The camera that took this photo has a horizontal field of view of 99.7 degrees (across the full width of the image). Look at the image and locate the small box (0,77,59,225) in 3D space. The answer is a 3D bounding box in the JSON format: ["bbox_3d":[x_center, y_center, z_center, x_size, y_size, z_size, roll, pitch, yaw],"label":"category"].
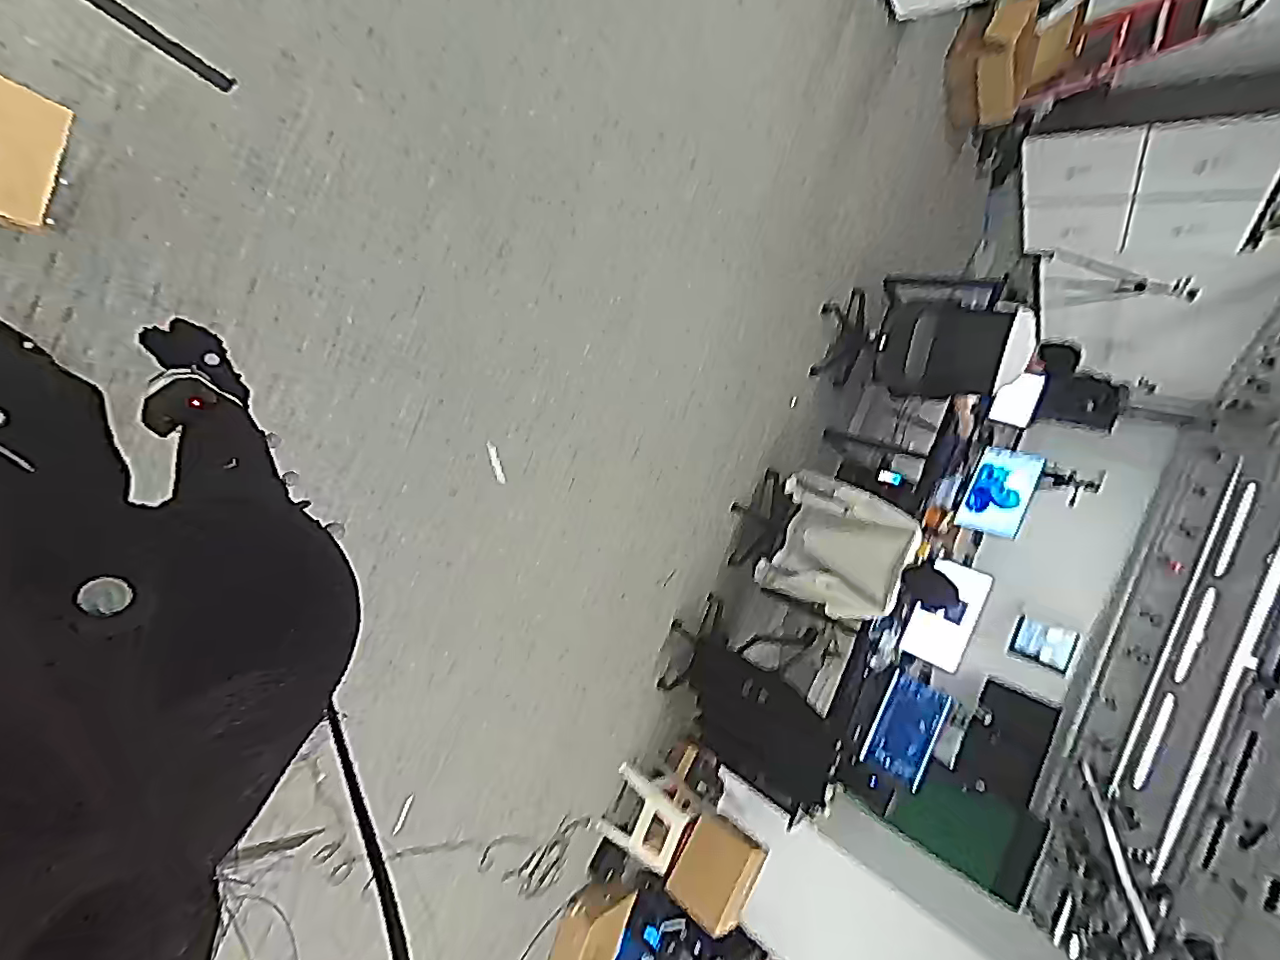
[{"bbox_3d":[-0.928,-0.466,0.725,0.168,0.176,0.179,17,91,-53],"label":"small box"}]

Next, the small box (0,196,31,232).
[{"bbox_3d":[-1.055,-0.499,0.822,0.179,0.176,0.168,12,96,-50],"label":"small box"}]
